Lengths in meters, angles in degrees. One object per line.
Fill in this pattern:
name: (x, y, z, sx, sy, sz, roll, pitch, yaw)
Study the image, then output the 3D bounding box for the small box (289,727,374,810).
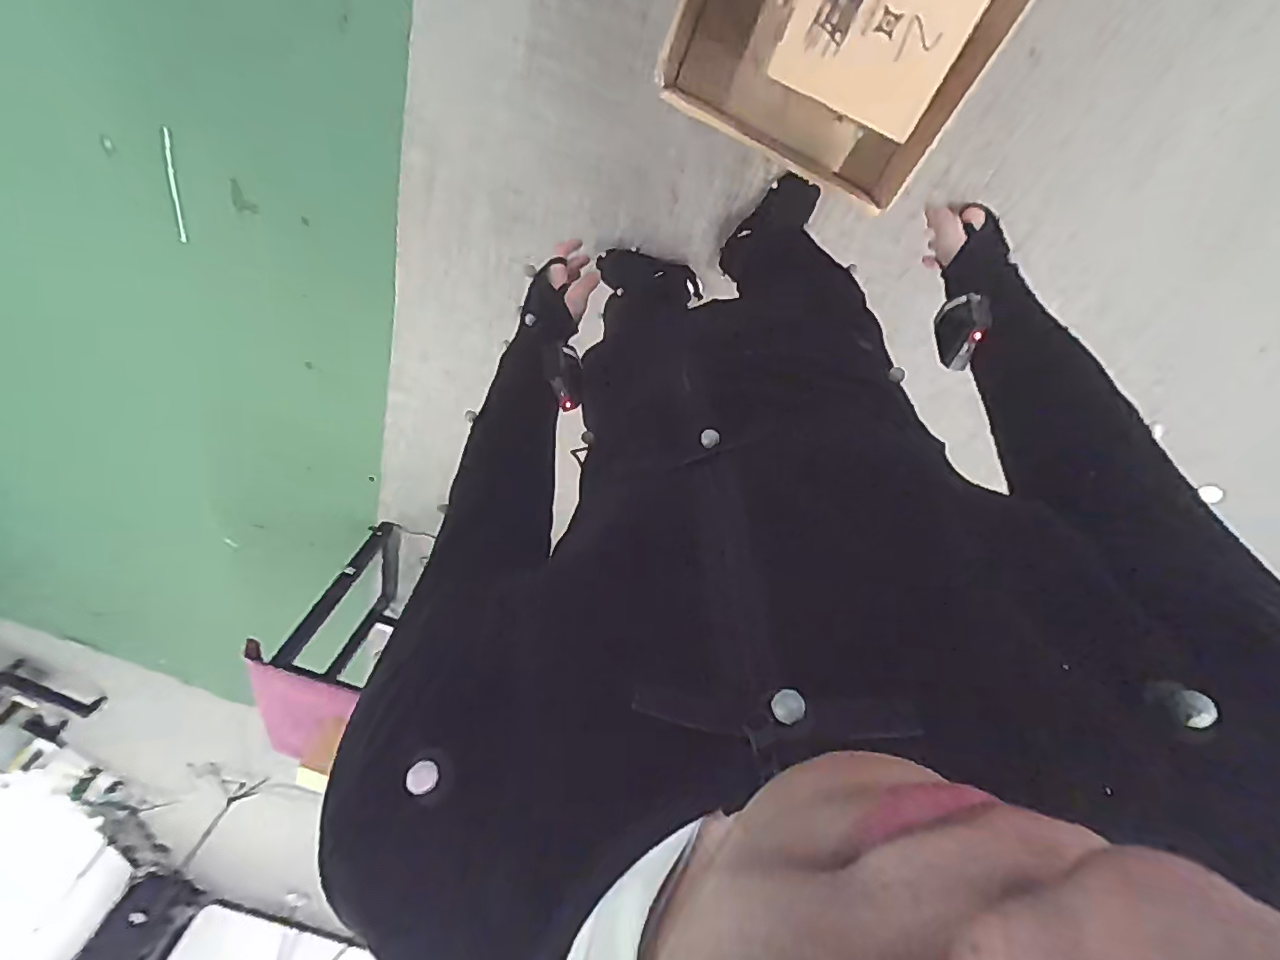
small box: (-1.000, 0.930, 1.755, 0.179, 0.176, 0.168, 24, 127, -9)

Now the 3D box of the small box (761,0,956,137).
small box: (0.282, -0.604, 0.739, 0.179, 0.176, 0.168, 23, 126, -7)
